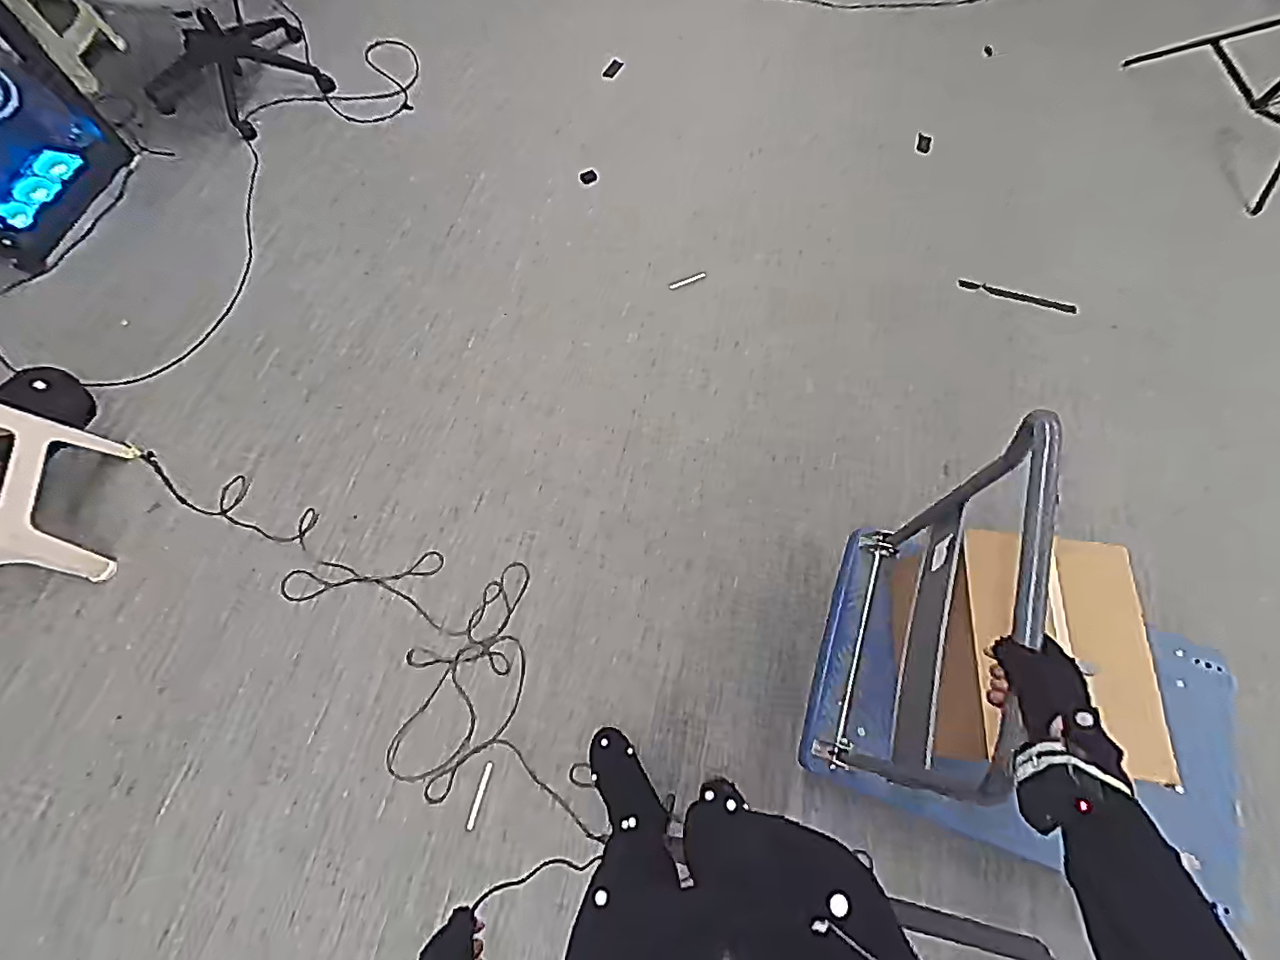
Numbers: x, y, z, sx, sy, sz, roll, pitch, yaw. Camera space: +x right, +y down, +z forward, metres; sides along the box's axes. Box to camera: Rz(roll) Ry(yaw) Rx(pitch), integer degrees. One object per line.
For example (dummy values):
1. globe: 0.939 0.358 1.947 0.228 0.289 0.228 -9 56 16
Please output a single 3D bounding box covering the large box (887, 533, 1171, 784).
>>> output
1. large box: 0.728 0.350 1.090 0.320 0.320 0.408 6 68 1
